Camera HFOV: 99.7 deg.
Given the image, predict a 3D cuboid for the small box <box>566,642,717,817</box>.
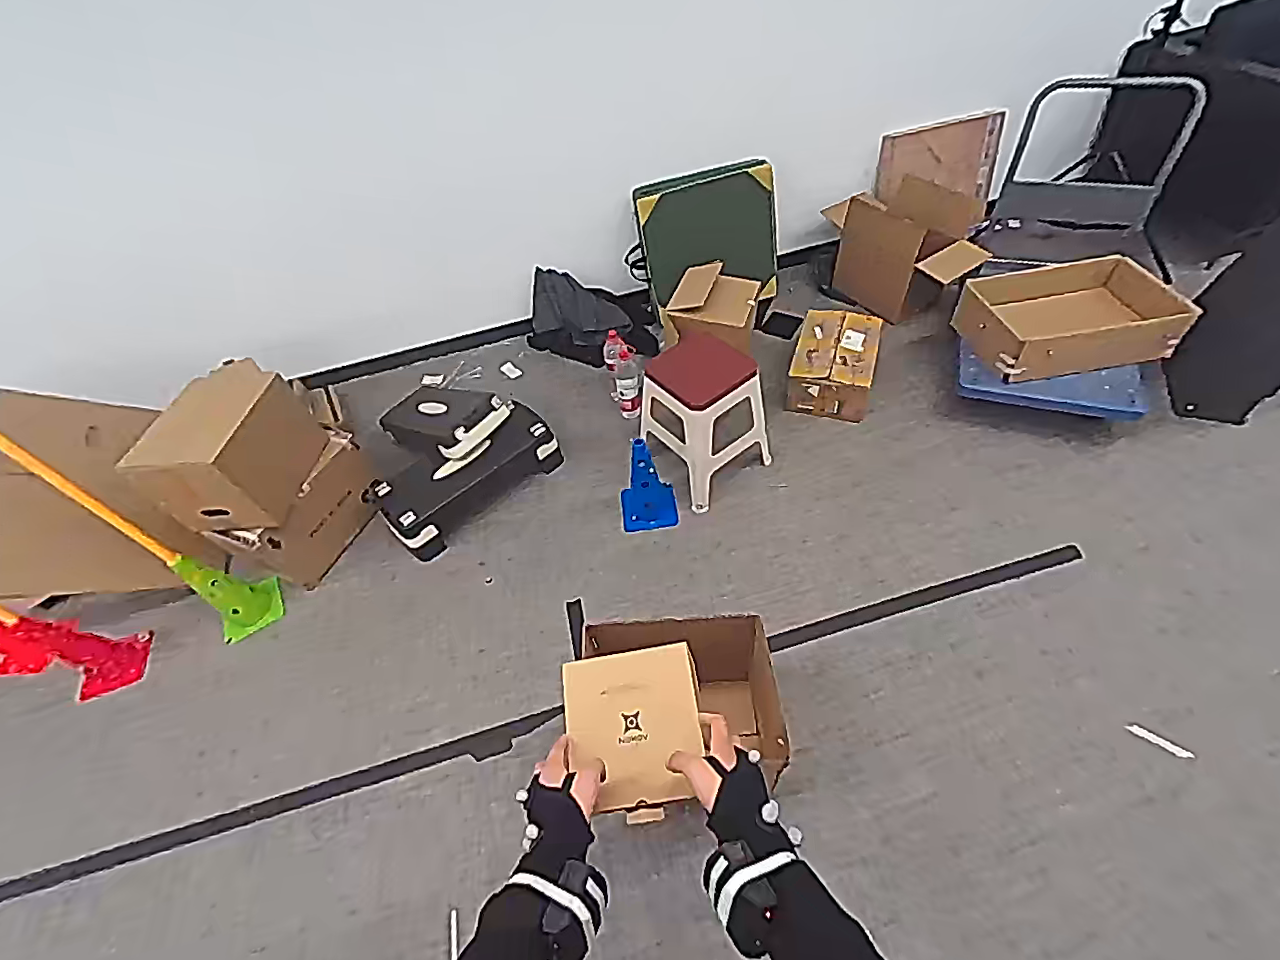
[{"bbox_3d":[0.007,0.328,0.718,0.168,0.176,0.179,-10,62,4],"label":"small box"}]
